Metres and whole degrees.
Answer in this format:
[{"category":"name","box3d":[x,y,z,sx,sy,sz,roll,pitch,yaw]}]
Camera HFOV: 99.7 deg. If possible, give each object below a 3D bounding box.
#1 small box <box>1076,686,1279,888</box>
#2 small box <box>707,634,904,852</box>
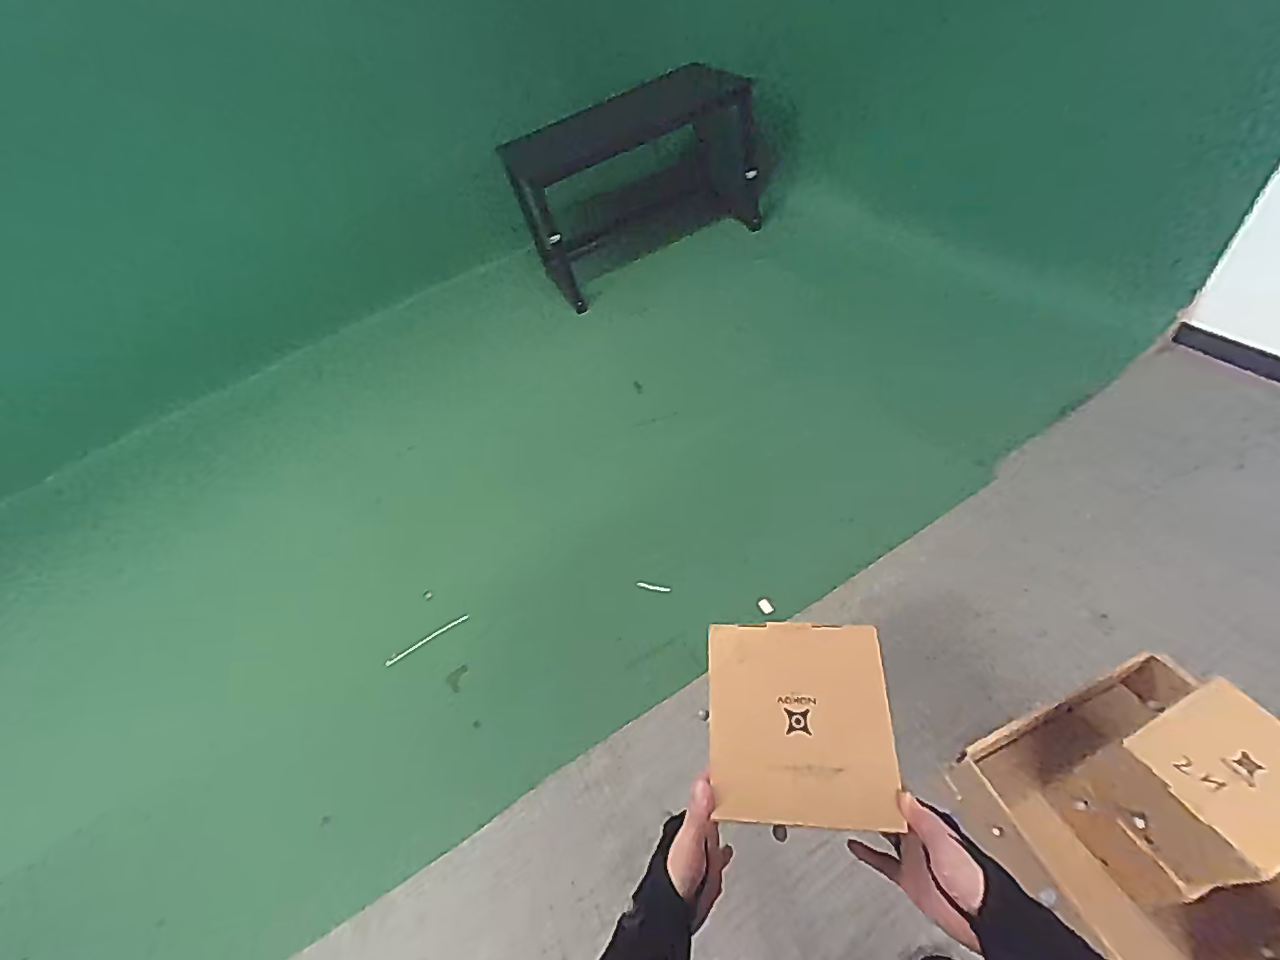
[{"category":"small box","box3d":[0.751,0.415,0.730,0.179,0.176,0.168,-27,50,-7]},{"category":"small box","box3d":[0.157,0.272,0.568,0.168,0.176,0.179,-2,61,10]}]
